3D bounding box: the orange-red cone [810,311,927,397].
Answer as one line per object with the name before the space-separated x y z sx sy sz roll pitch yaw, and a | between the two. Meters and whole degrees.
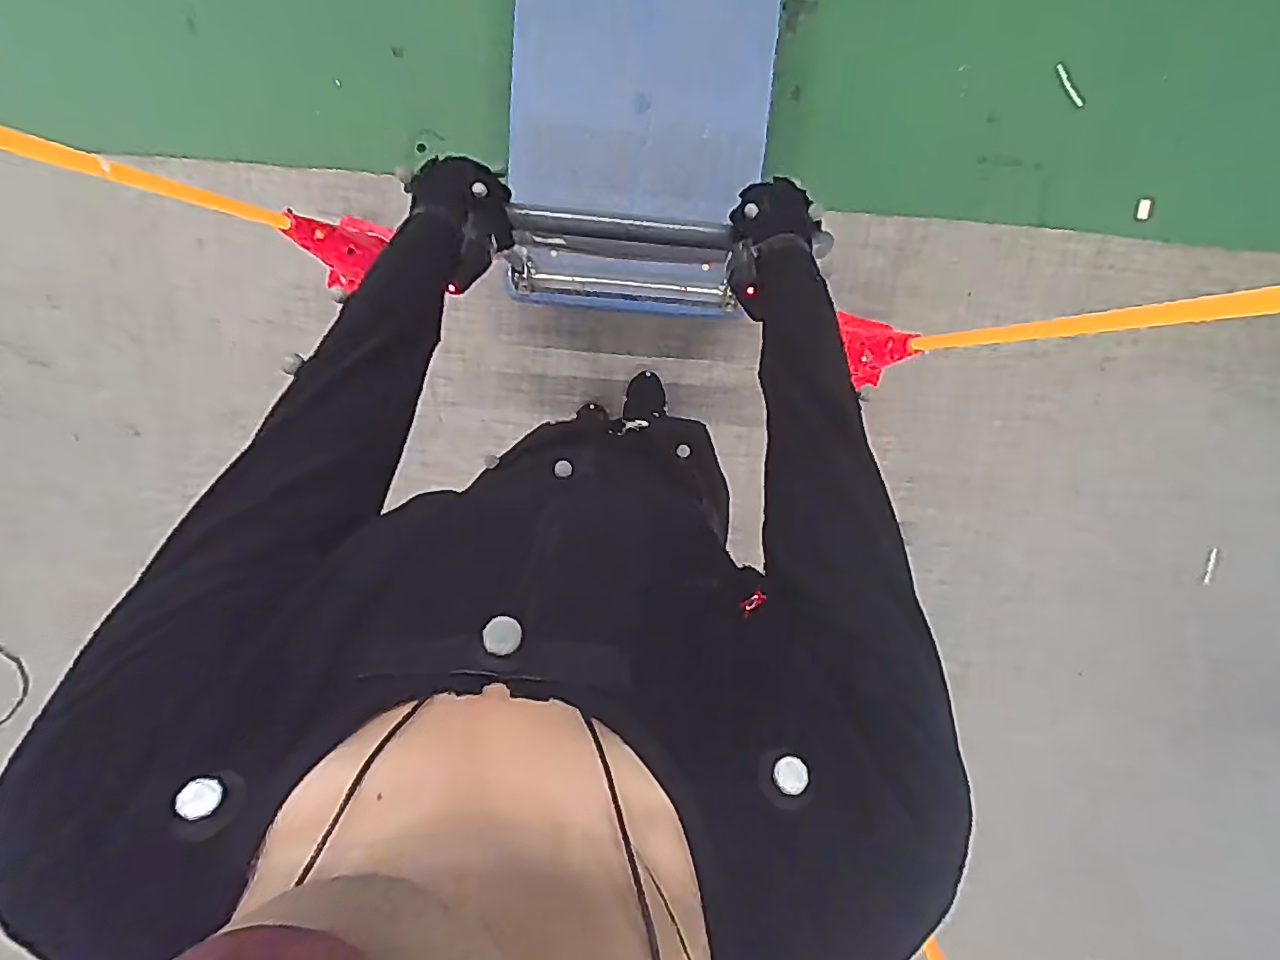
orange-red cone | 0.575 -0.311 1.287 0.198 0.360 0.199 15 99 -3
